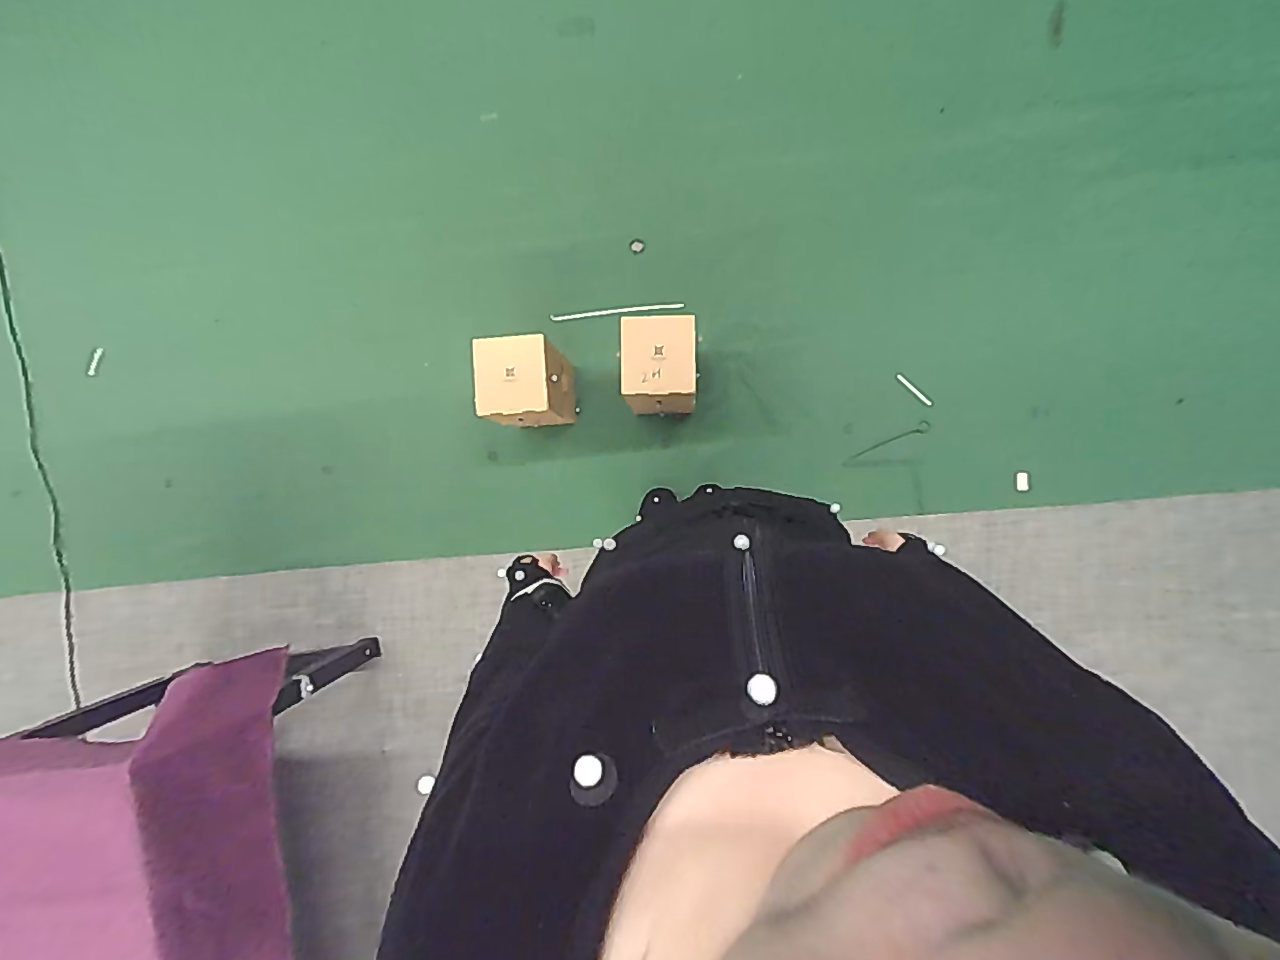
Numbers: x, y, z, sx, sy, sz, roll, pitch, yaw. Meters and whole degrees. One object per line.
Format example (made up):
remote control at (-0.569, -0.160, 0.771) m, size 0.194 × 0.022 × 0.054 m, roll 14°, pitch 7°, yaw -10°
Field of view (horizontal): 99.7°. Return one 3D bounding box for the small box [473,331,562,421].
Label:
small box at (-0.287, -0.242, 1.290) m, size 0.168 × 0.176 × 0.179 m, roll -4°, pitch 90°, yaw 4°

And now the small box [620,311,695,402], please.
small box at (0.042, -0.283, 1.264) m, size 0.168 × 0.176 × 0.179 m, roll 0°, pitch 91°, yaw 4°

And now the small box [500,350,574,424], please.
small box at (-0.276, -0.244, 1.452) m, size 0.179 × 0.176 × 0.168 m, roll -4°, pitch 89°, yaw 5°
